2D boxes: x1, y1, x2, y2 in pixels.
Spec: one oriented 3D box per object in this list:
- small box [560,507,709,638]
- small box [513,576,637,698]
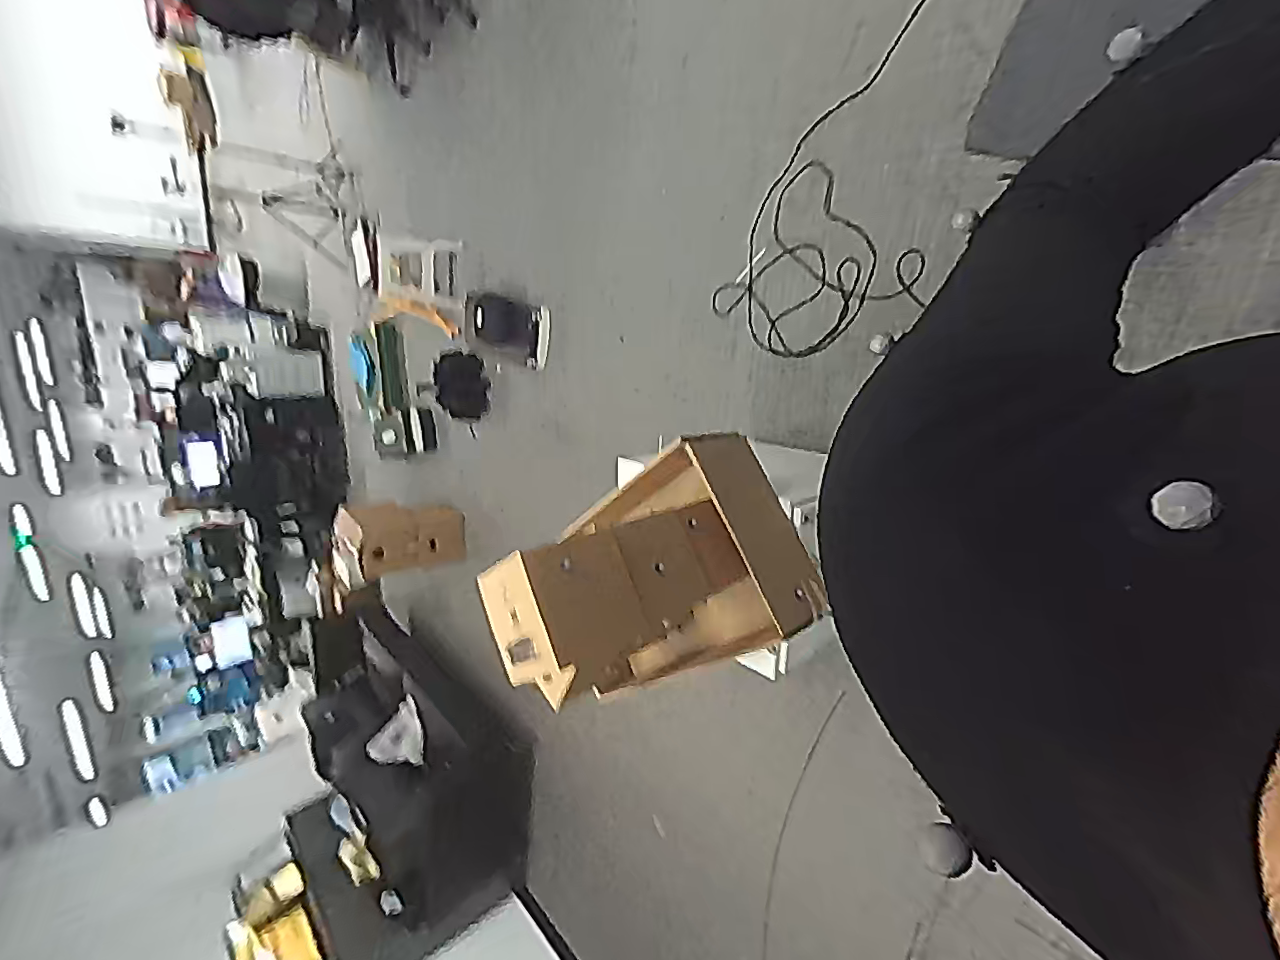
[{"bbox_3d":[-0.009,0.159,0.973,0.168,0.176,0.179,-36,74,46],"label":"small box"},{"bbox_3d":[-0.138,0.315,1.144,0.179,0.176,0.168,44,128,29],"label":"small box"}]
